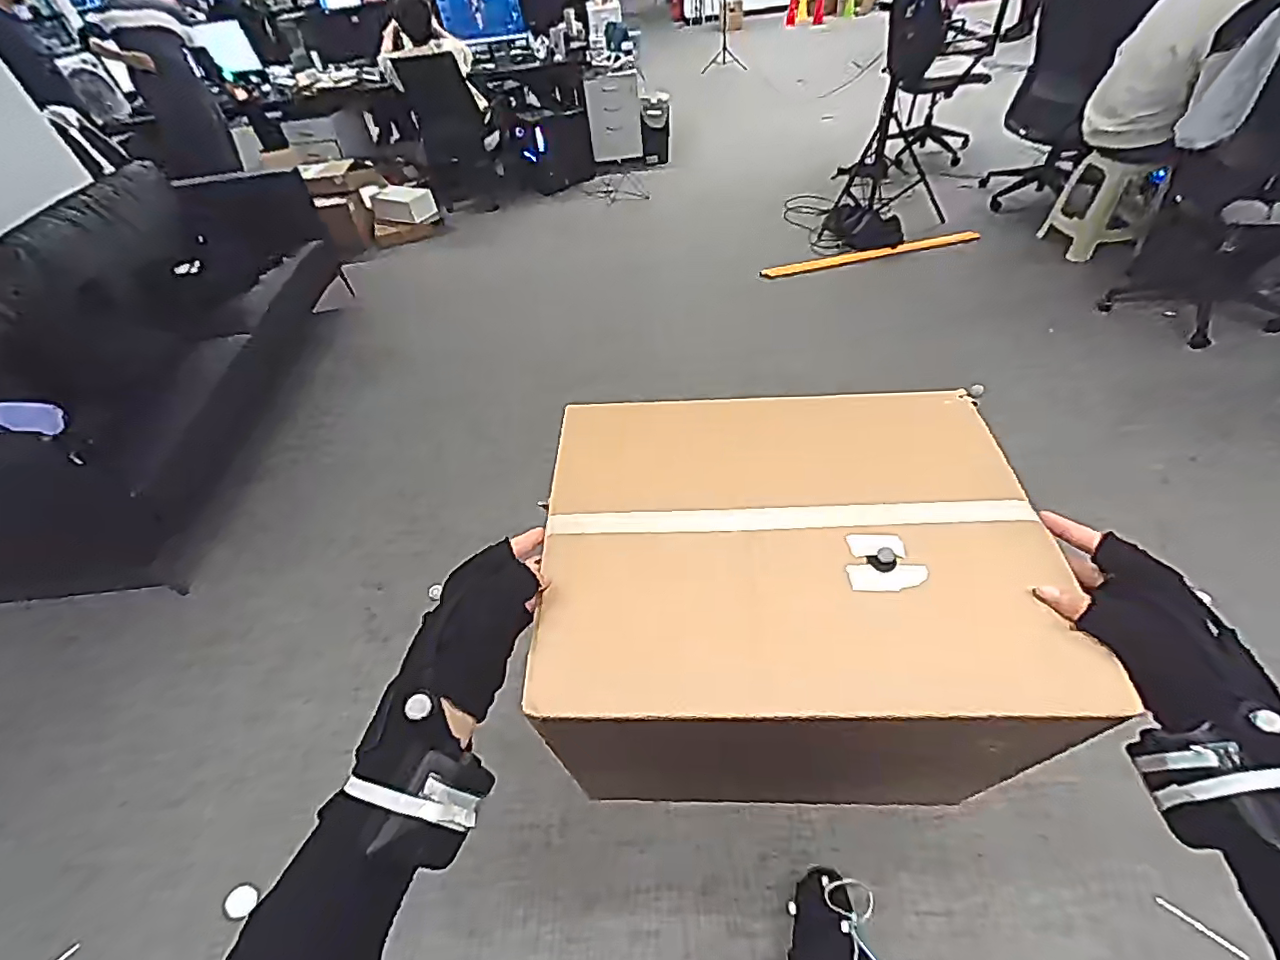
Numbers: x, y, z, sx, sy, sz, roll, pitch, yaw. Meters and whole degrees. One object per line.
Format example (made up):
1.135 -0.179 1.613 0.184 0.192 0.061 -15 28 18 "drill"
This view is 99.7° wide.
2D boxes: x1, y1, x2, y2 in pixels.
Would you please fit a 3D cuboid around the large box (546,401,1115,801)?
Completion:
0.135 0.138 0.583 0.408 0.320 0.320 -2 50 3 "large box"
